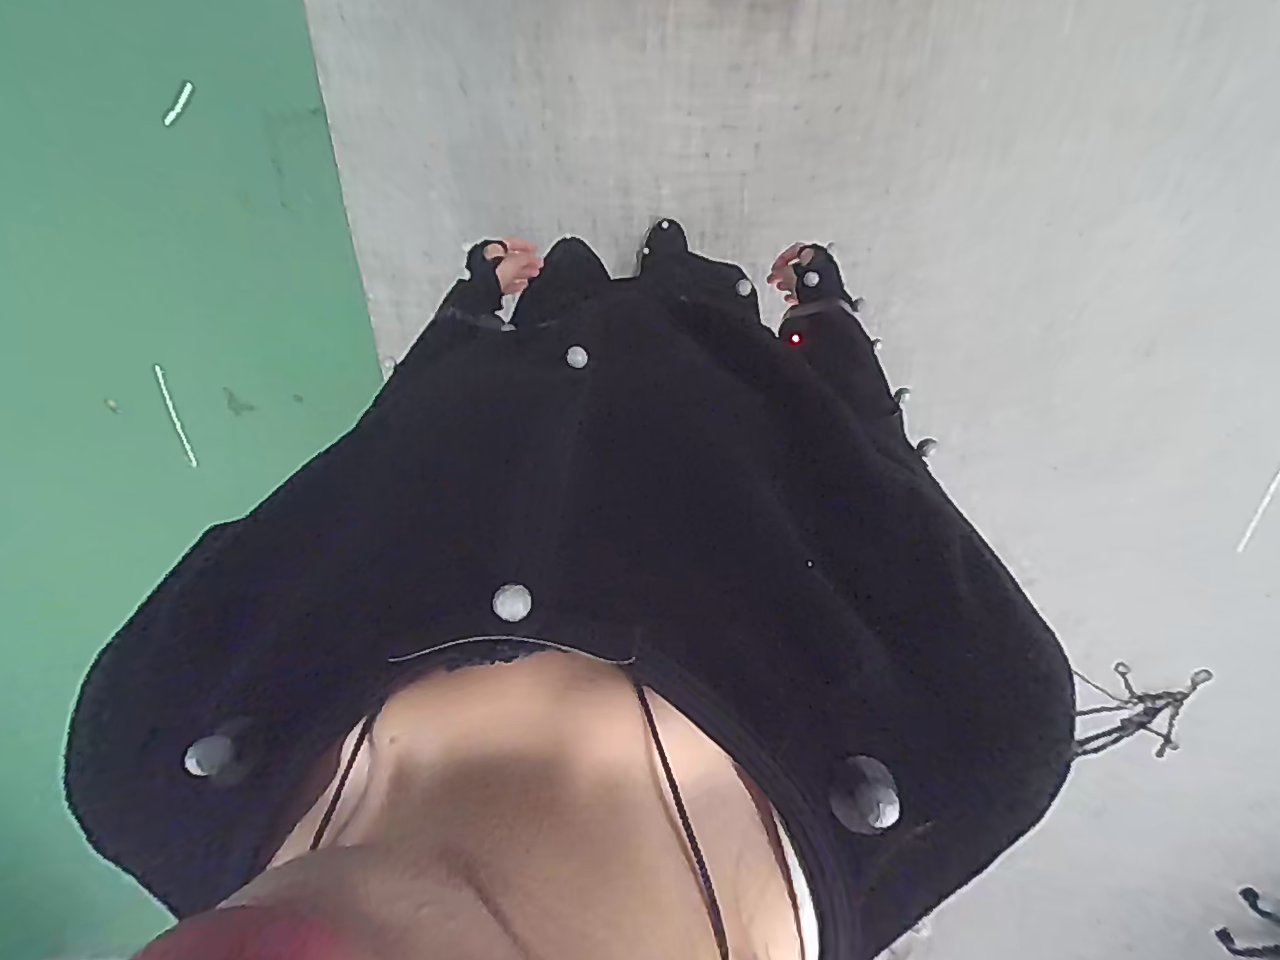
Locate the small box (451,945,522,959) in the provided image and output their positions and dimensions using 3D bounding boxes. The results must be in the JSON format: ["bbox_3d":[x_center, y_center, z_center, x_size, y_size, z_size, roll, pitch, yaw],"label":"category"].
[{"bbox_3d":[-0.397,1.293,1.340,0.179,0.176,0.168,3,118,2],"label":"small box"}]
